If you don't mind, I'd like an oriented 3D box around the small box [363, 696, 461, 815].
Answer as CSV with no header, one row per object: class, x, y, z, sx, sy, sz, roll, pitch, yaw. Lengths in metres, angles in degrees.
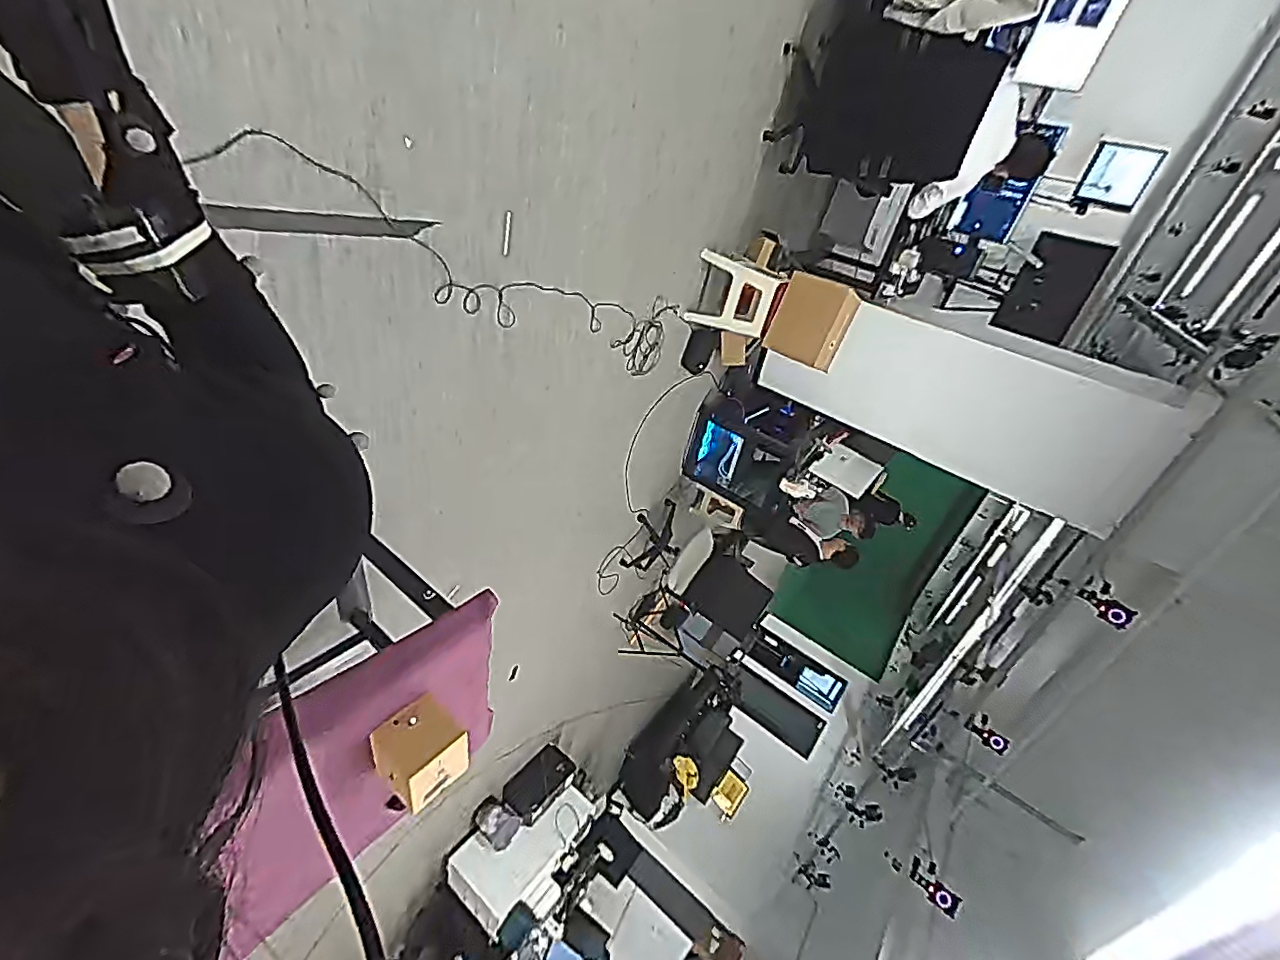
small box,-0.577,0.692,1.374,0.168,0.176,0.179,-31,142,-46
